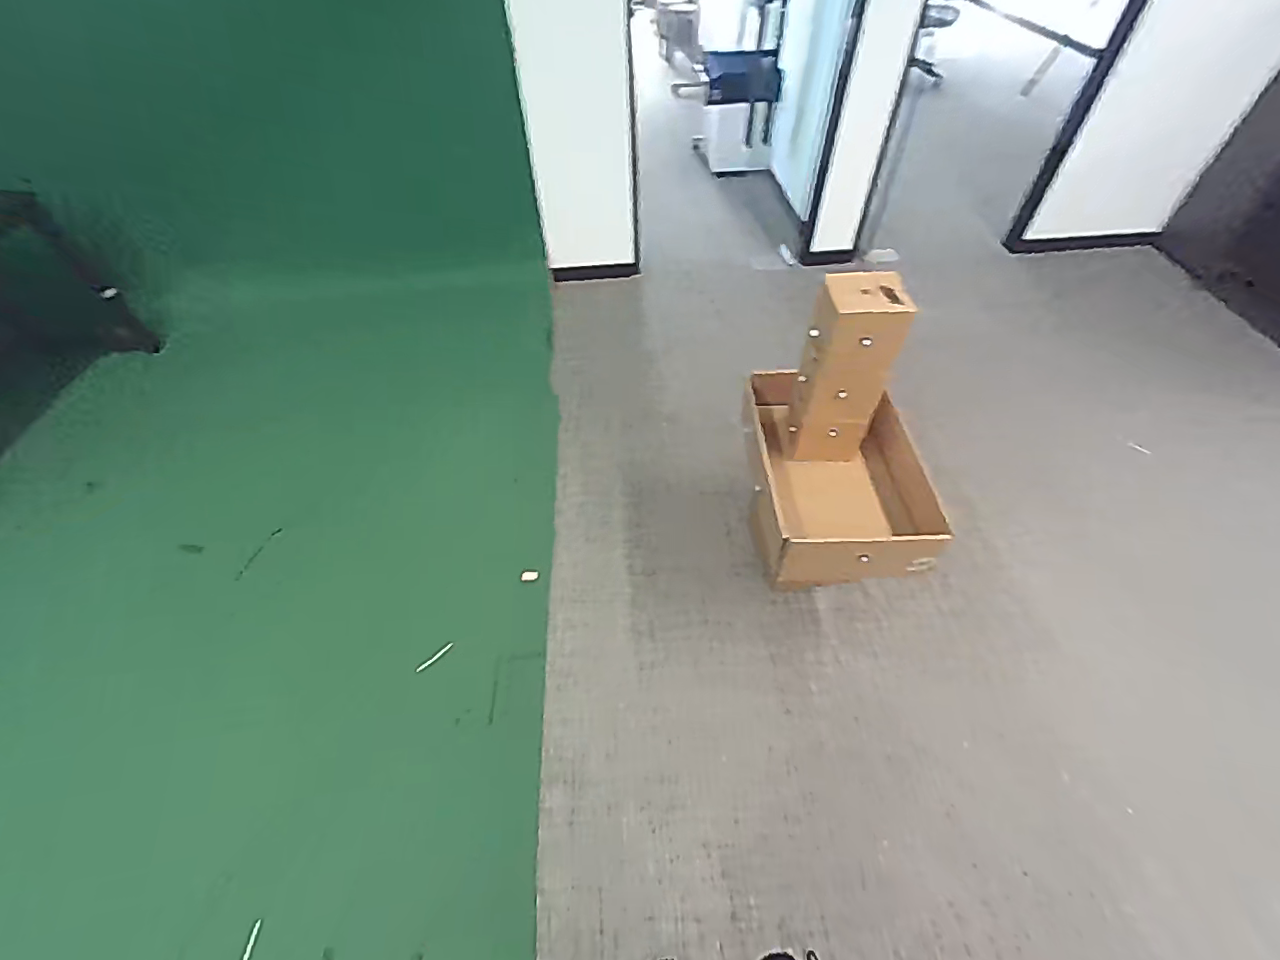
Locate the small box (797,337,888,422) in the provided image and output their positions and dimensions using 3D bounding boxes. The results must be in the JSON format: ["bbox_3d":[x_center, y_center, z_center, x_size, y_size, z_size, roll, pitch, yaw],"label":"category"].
[{"bbox_3d":[0.523,-0.265,1.433,0.179,0.176,0.168,0,52,1],"label":"small box"}]

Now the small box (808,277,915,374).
[{"bbox_3d":[0.524,-0.370,1.306,0.179,0.176,0.168,-1,51,0],"label":"small box"}]

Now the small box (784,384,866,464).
[{"bbox_3d":[0.522,-0.159,1.558,0.179,0.176,0.168,1,51,0],"label":"small box"}]
